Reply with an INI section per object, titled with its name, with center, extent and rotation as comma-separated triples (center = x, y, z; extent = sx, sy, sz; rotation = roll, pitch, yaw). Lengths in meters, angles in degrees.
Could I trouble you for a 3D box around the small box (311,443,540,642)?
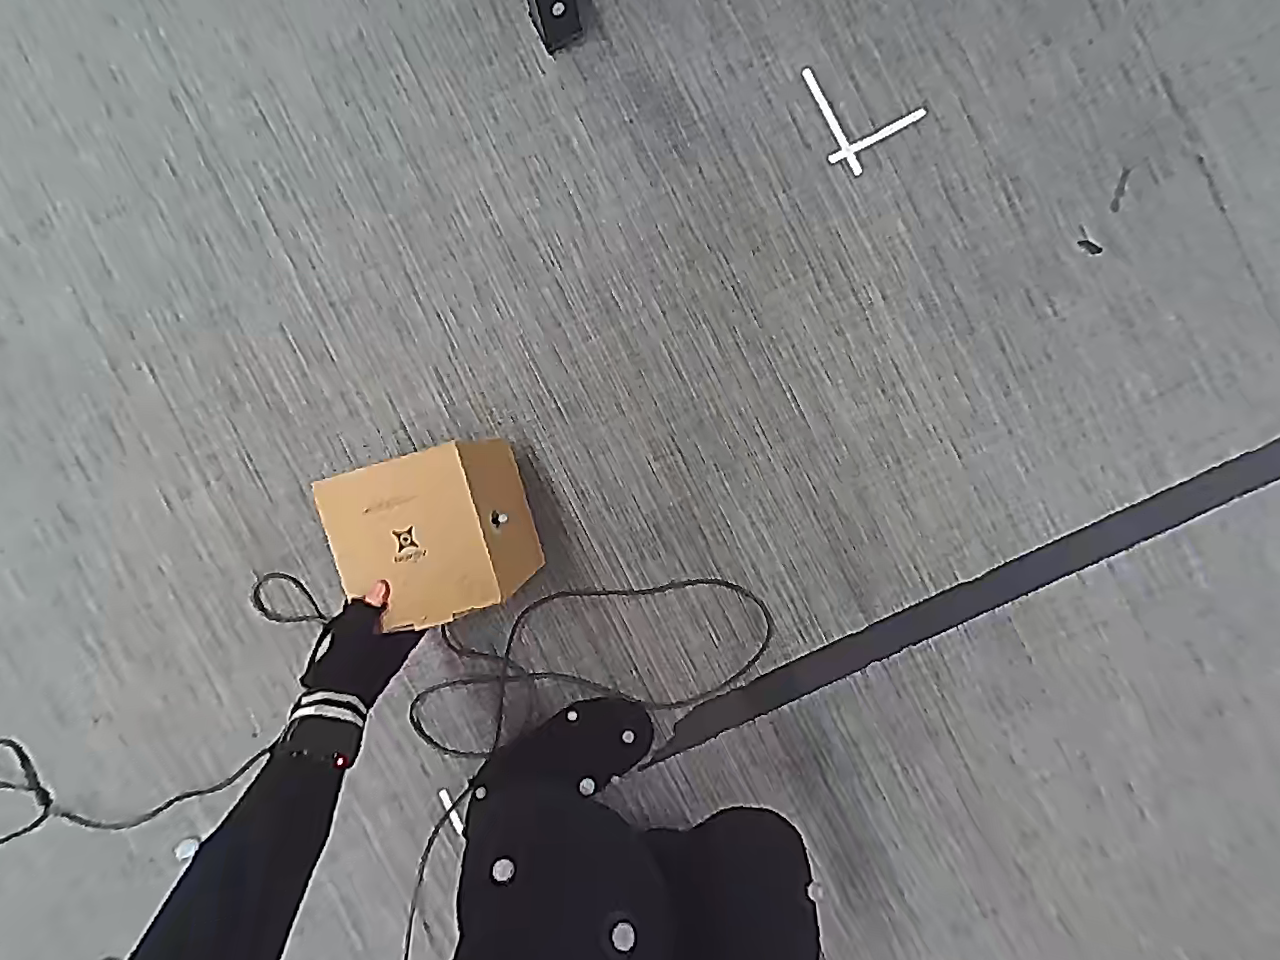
[small box]
center = -0.235, 0.062, 0.639
extent = 0.168, 0.176, 0.179
rotation = -16, 94, 7
